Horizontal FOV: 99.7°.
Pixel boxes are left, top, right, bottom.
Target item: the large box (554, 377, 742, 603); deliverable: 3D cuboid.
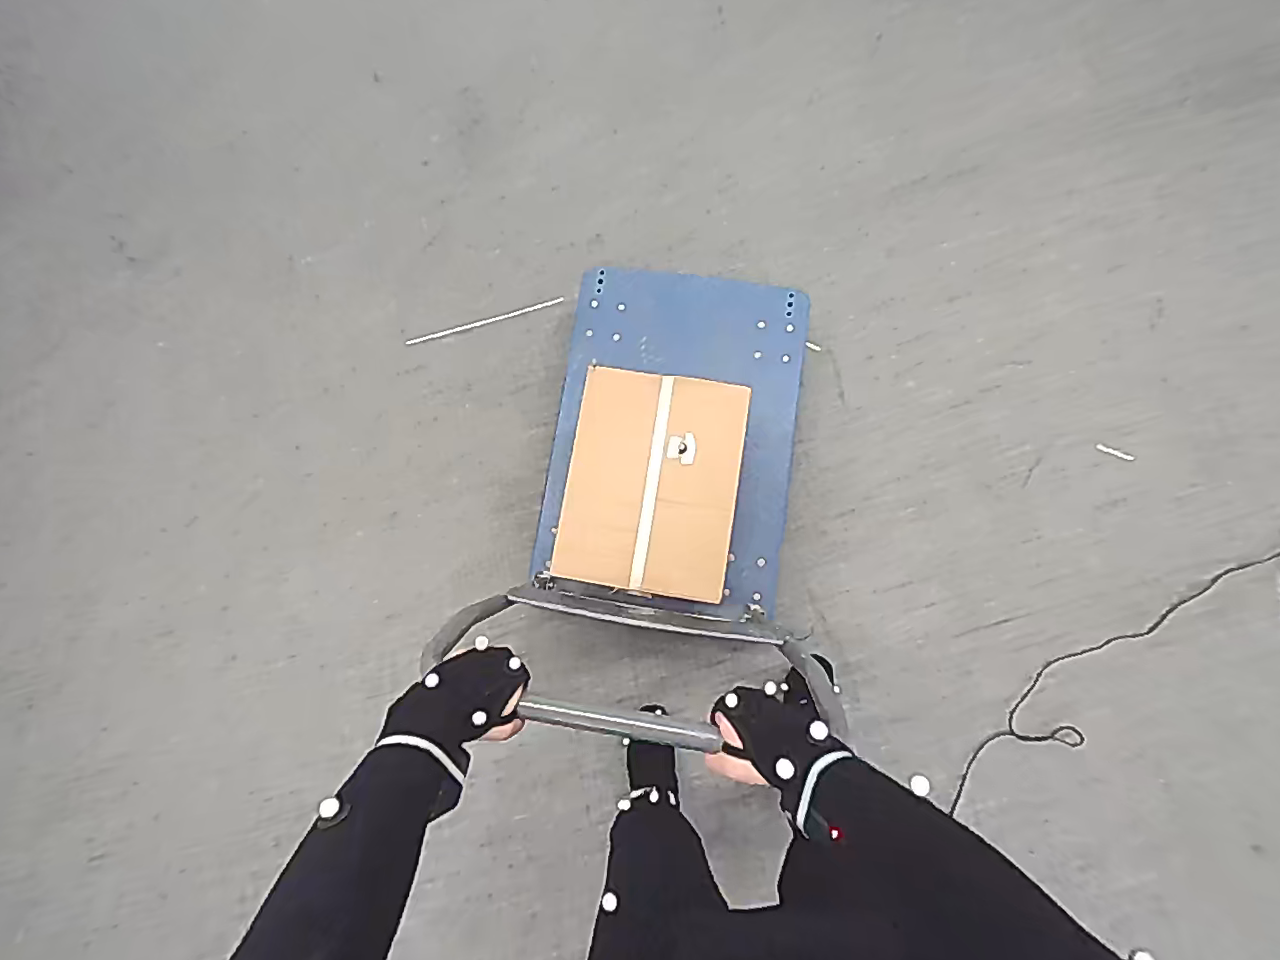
[{"bbox_3d":[0.027,0.037,1.160,0.320,0.320,0.408,9,81,4],"label":"large box"}]
